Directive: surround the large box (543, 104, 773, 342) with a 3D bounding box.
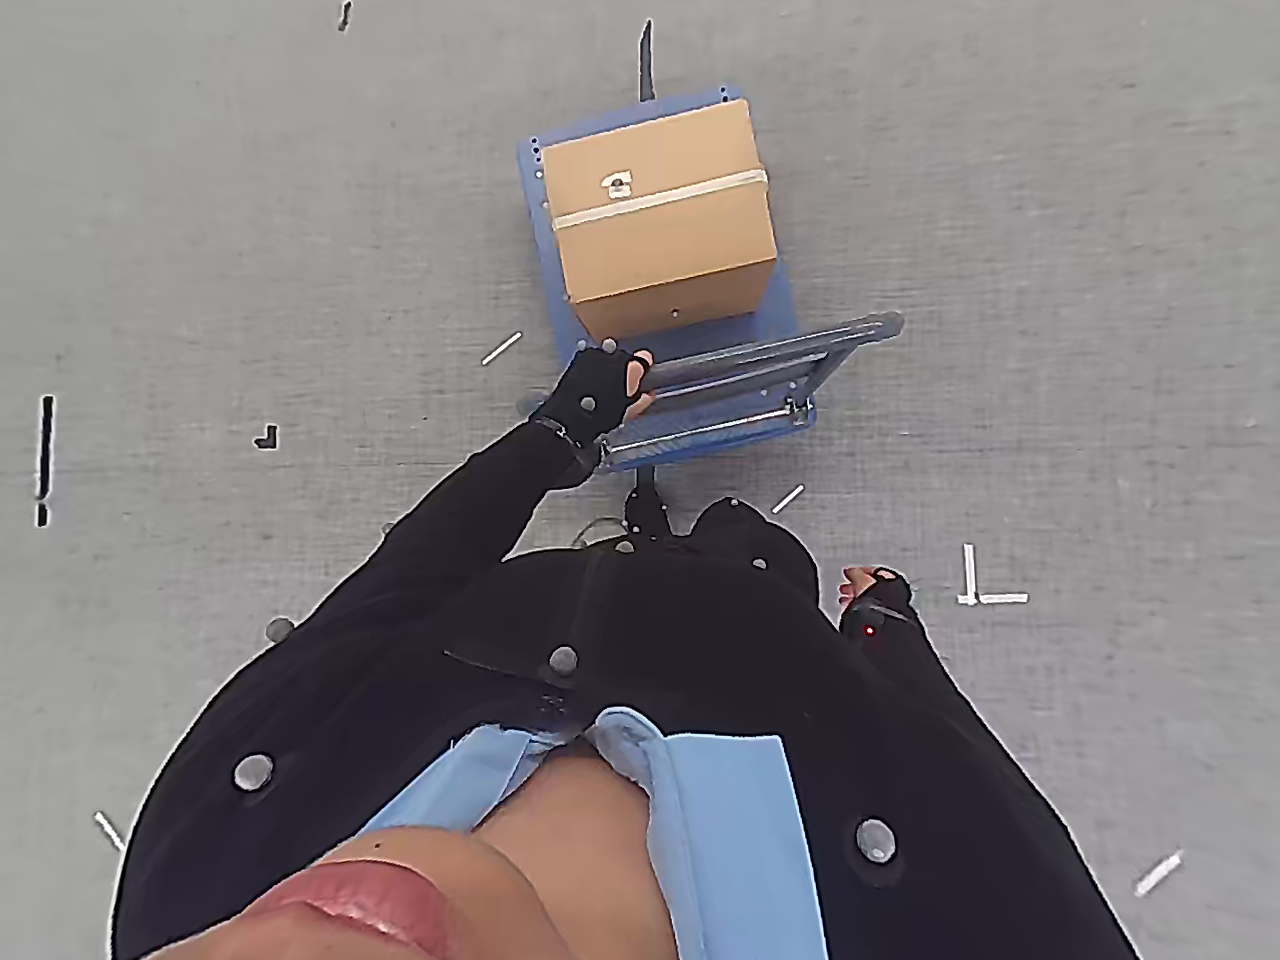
[{"bbox_3d":[0.046,-0.528,1.189,0.408,0.320,0.320,-11,88,6],"label":"large box"}]
